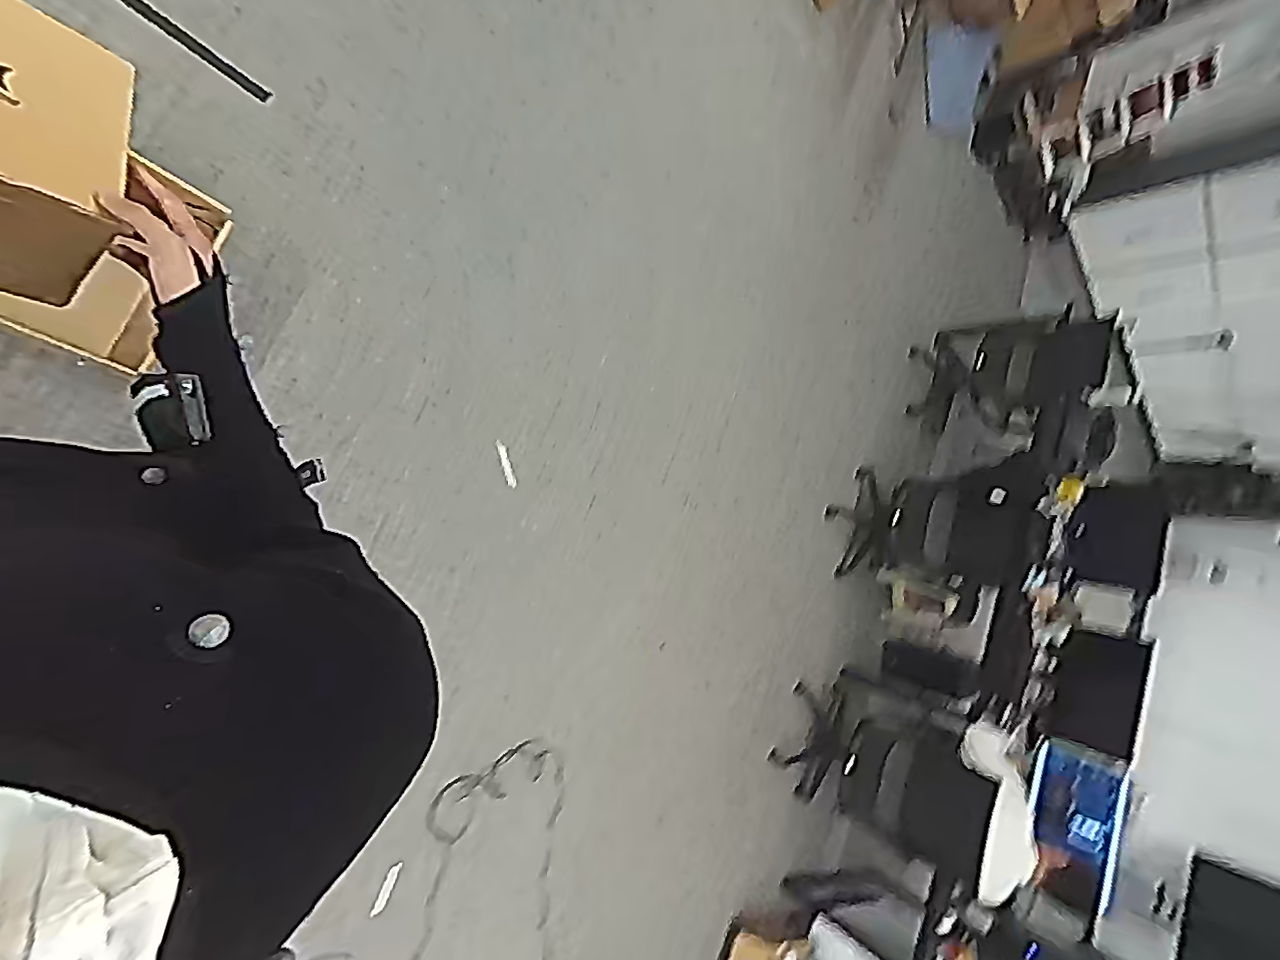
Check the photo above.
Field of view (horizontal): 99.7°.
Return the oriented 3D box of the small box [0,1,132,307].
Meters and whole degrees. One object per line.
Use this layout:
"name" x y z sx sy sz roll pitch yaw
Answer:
"small box" -0.561 -0.278 0.448 0.168 0.176 0.179 10 66 -57
